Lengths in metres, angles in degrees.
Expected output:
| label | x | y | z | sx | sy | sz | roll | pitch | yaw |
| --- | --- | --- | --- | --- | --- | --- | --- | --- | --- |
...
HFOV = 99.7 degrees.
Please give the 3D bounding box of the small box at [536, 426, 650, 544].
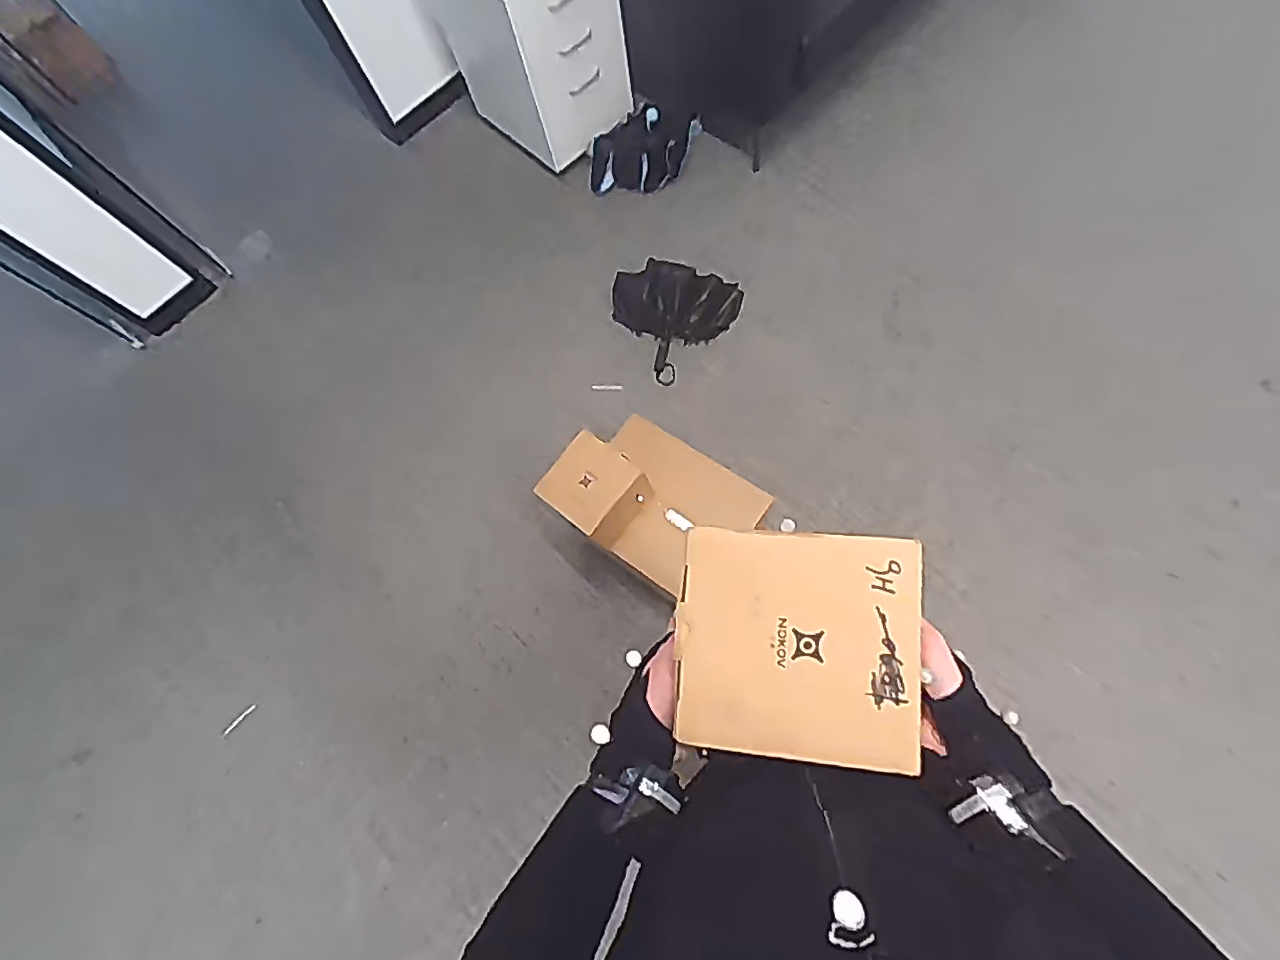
| label | x | y | z | sx | sy | sz | roll | pitch | yaw |
| --- | --- | --- | --- | --- | --- | --- | --- | --- | --- |
| small box | -0.092 | 0.018 | 1.190 | 0.168 | 0.176 | 0.179 | 36 | 83 | 19 |
